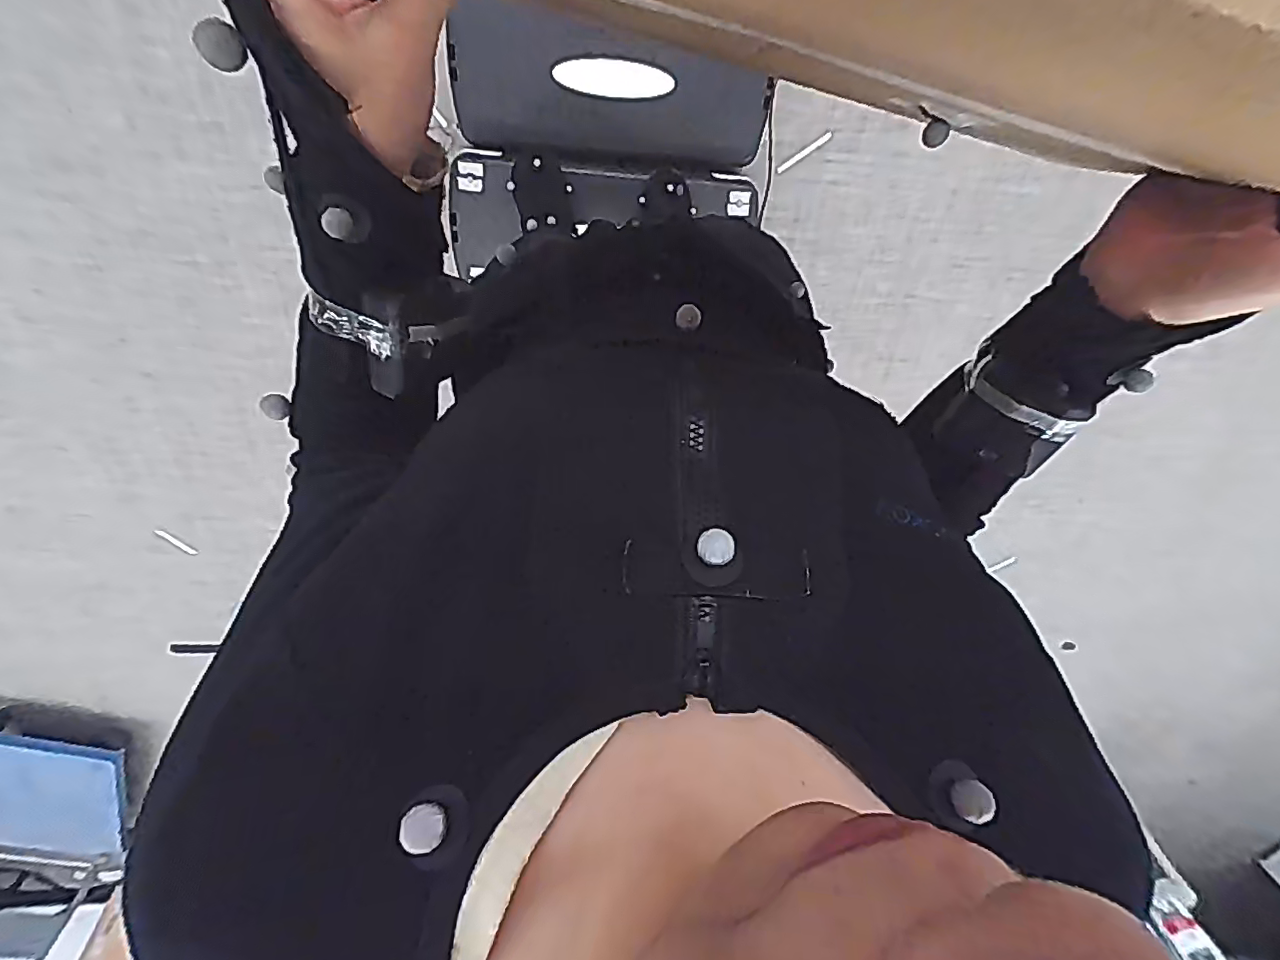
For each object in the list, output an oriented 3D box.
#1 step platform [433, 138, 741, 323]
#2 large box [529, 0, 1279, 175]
[{"bbox_3d":[-0.115,-0.567,1.255,0.684,0.204,0.286,7,122,-7],"label":"step platform"},{"bbox_3d":[0.110,-0.299,0.132,0.408,0.320,0.320,10,125,-7],"label":"large box"}]
